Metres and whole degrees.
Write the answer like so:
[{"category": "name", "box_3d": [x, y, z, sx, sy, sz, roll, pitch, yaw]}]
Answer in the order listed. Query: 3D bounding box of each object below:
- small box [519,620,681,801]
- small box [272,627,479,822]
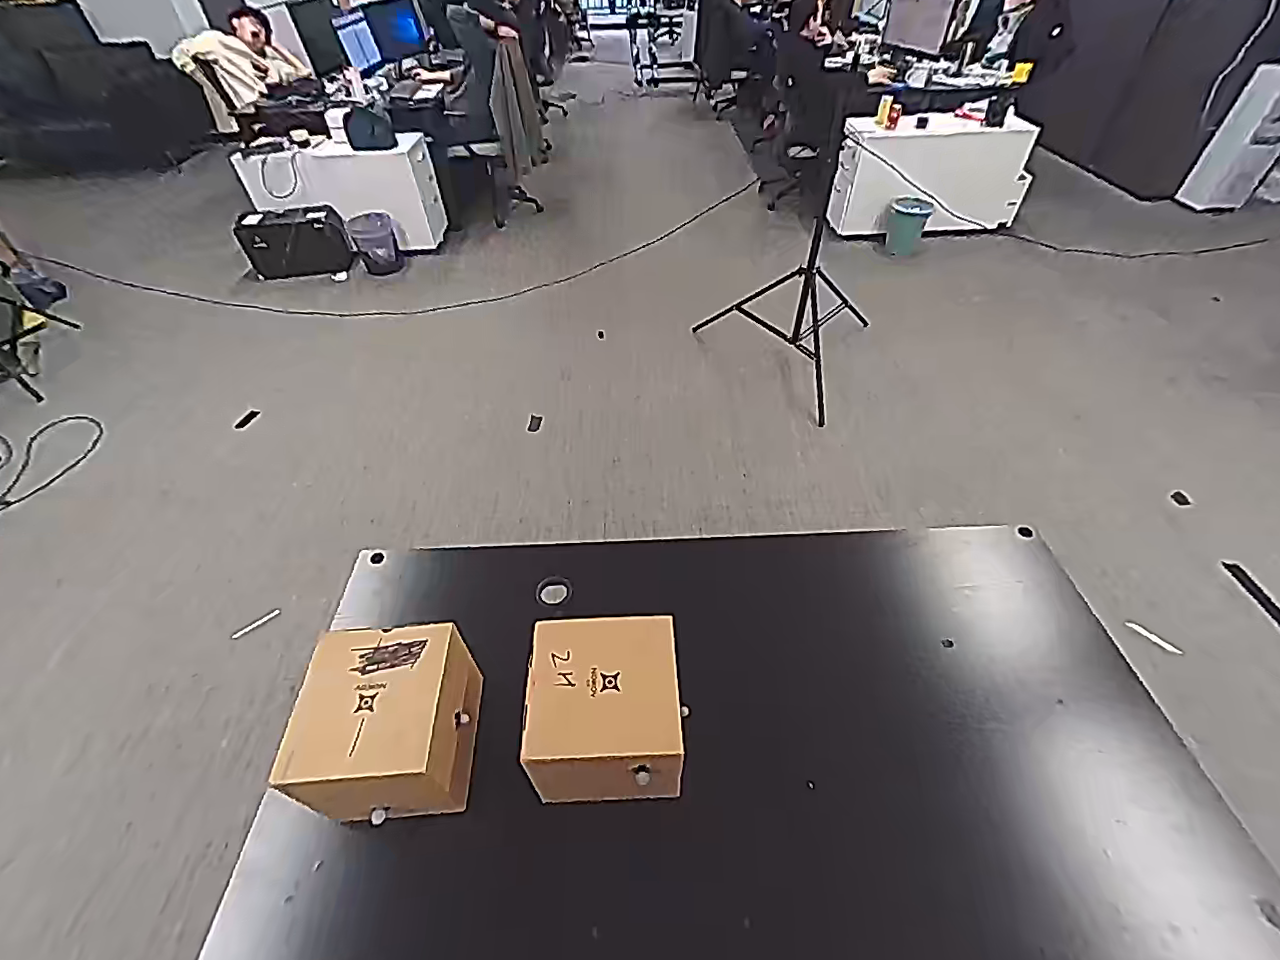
[{"category": "small box", "box_3d": [-0.043, 0.294, 0.687, 0.179, 0.176, 0.168, -3, 46, 0]}, {"category": "small box", "box_3d": [-0.310, 0.308, 0.683, 0.168, 0.176, 0.179, -4, 47, -2]}]
